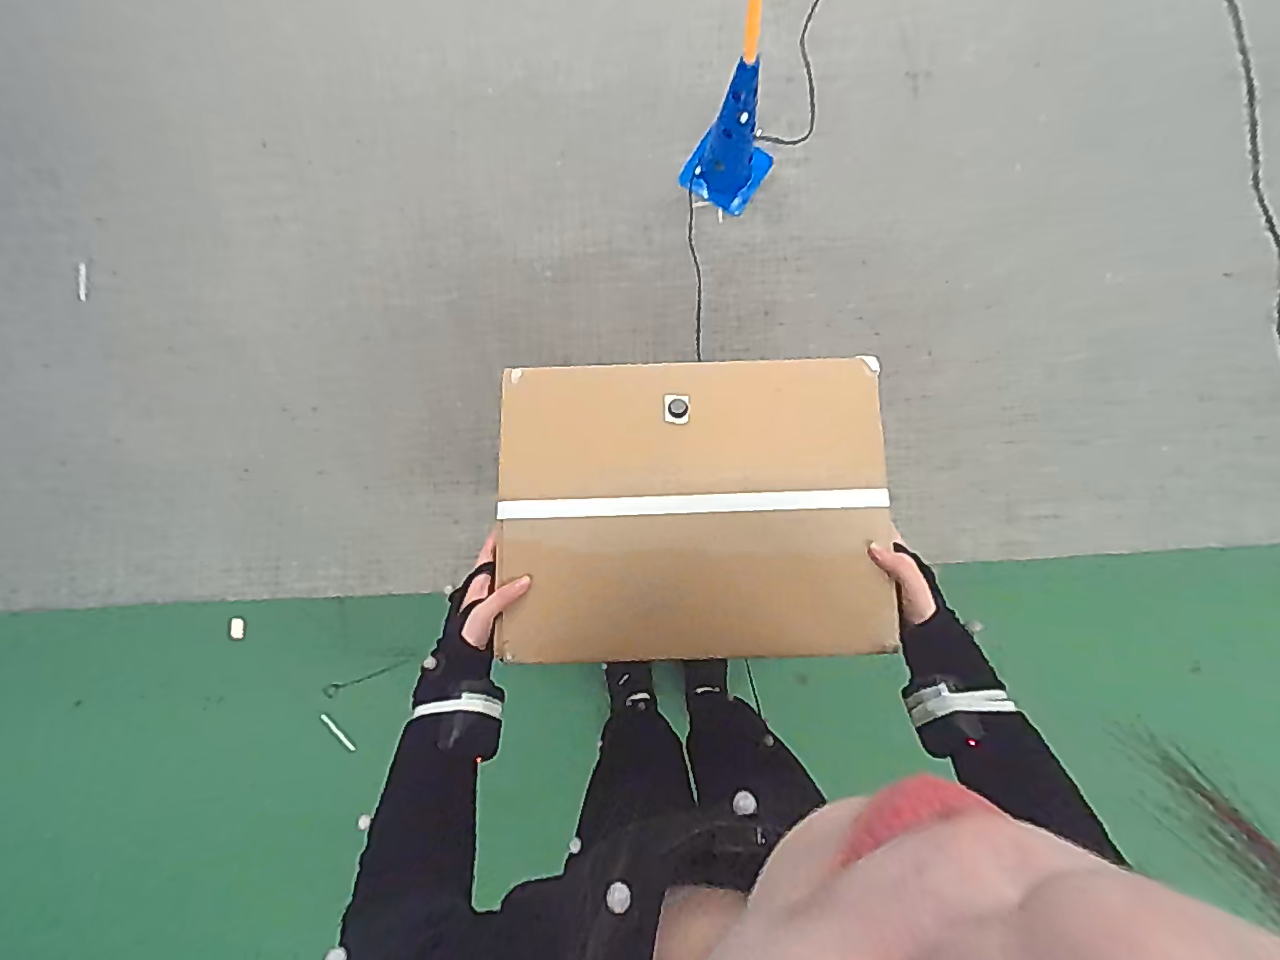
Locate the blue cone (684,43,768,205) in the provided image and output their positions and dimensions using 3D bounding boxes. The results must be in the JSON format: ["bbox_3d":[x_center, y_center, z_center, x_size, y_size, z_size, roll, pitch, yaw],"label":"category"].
[{"bbox_3d":[0.226,-0.853,1.281,0.192,0.380,0.193,29,88,3],"label":"blue cone"}]
